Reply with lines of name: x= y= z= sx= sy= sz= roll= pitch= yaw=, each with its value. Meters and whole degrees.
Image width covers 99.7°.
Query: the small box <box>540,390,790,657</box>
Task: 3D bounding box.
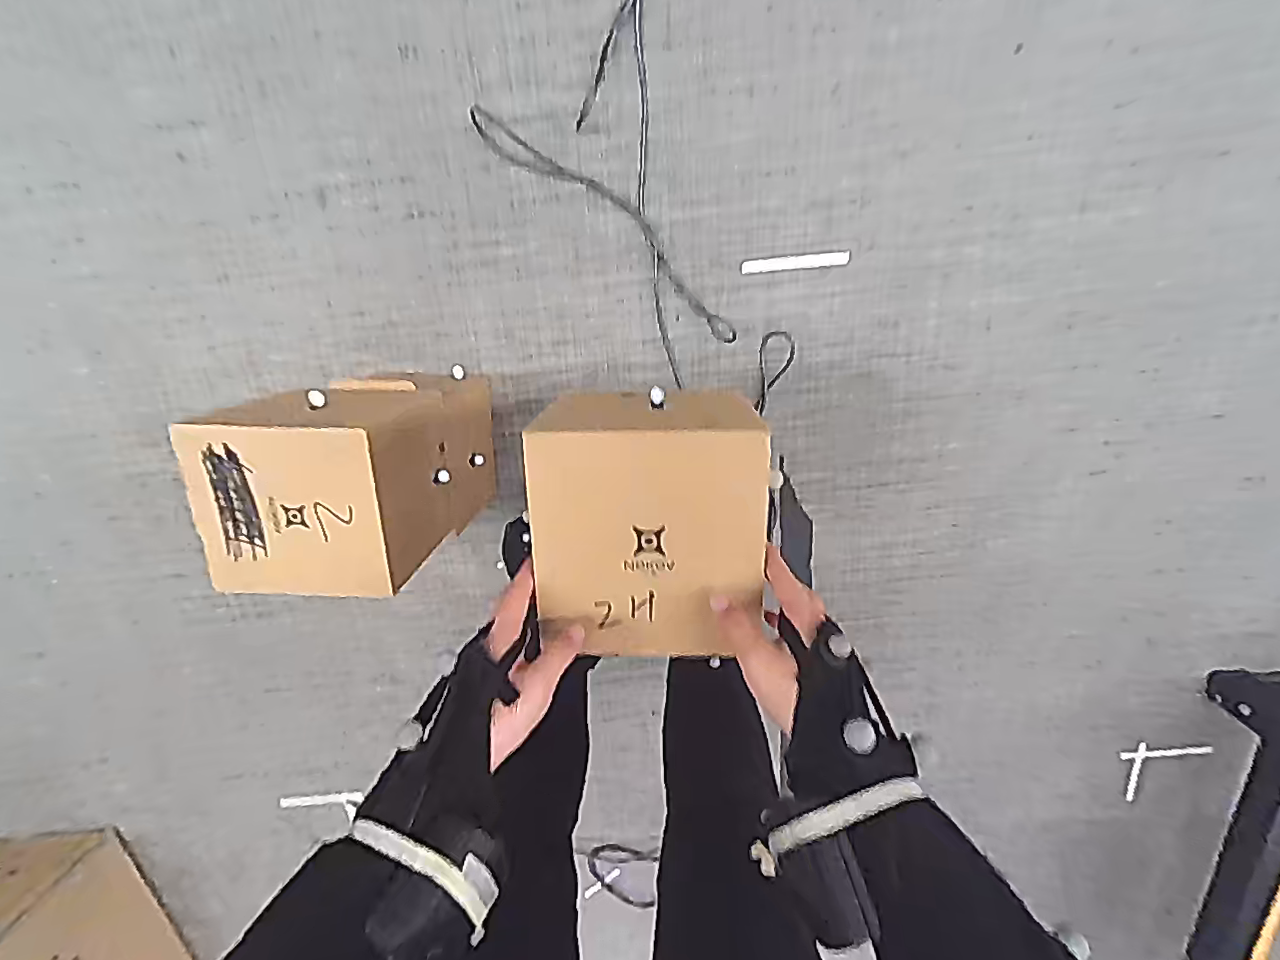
small box: x=0.018 y=0.022 z=0.449 sx=0.168 sy=0.176 sz=0.179 roll=1 pitch=108 yaw=3

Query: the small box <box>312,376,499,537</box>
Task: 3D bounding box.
small box: x=-0.293 y=-0.041 z=0.717 sx=0.168 sy=0.176 sz=0.179 roll=2 pitch=110 yaw=2
